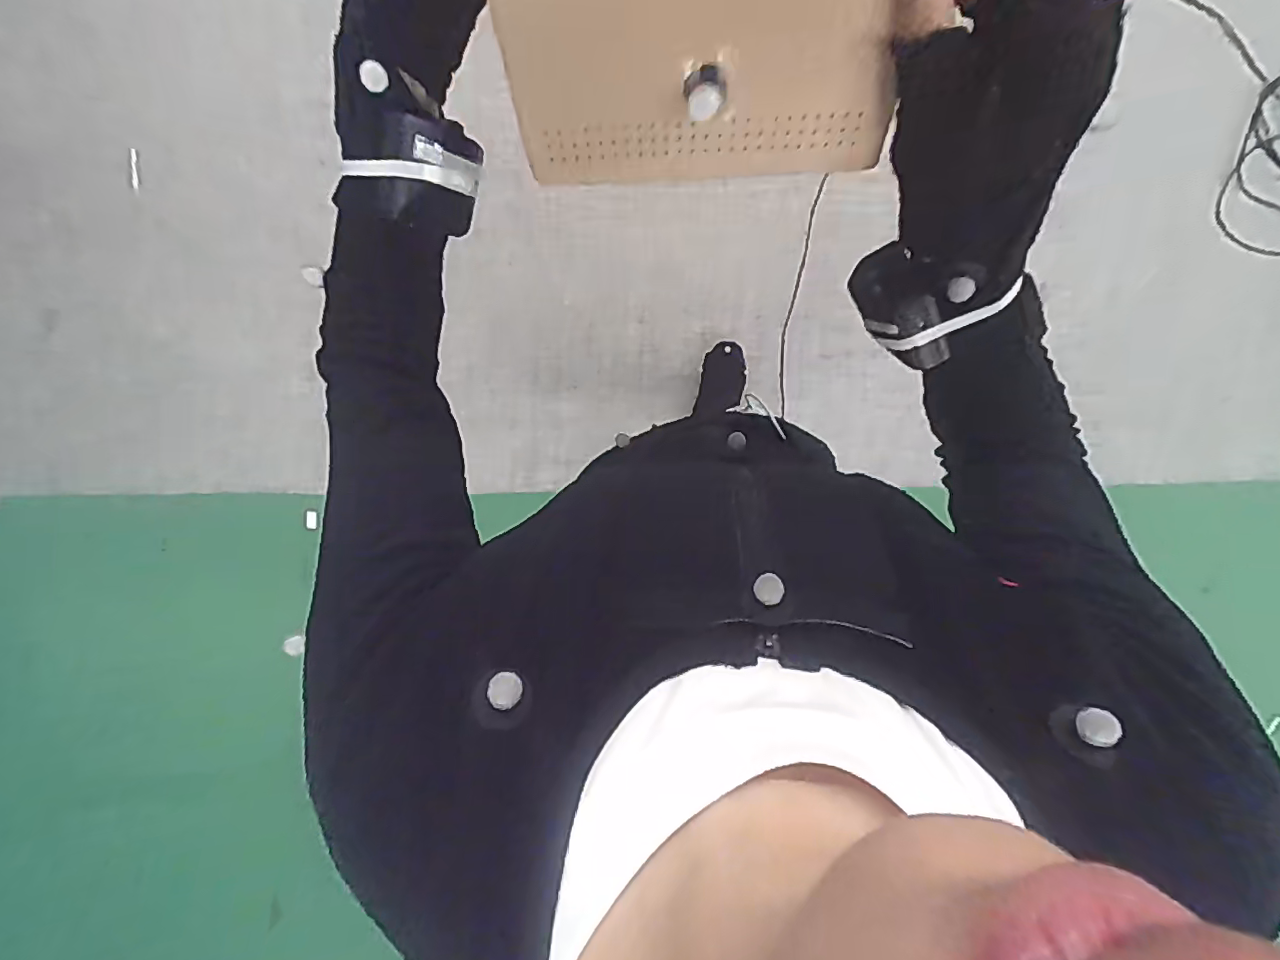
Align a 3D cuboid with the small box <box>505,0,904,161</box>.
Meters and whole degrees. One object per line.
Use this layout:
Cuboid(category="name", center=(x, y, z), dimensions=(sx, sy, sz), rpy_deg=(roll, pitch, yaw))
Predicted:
Cuboid(category="small box", center=(0.030, -0.276, 0.253), dimensions=(0.179, 0.176, 0.168), rpy_deg=(-1, 58, 3))
